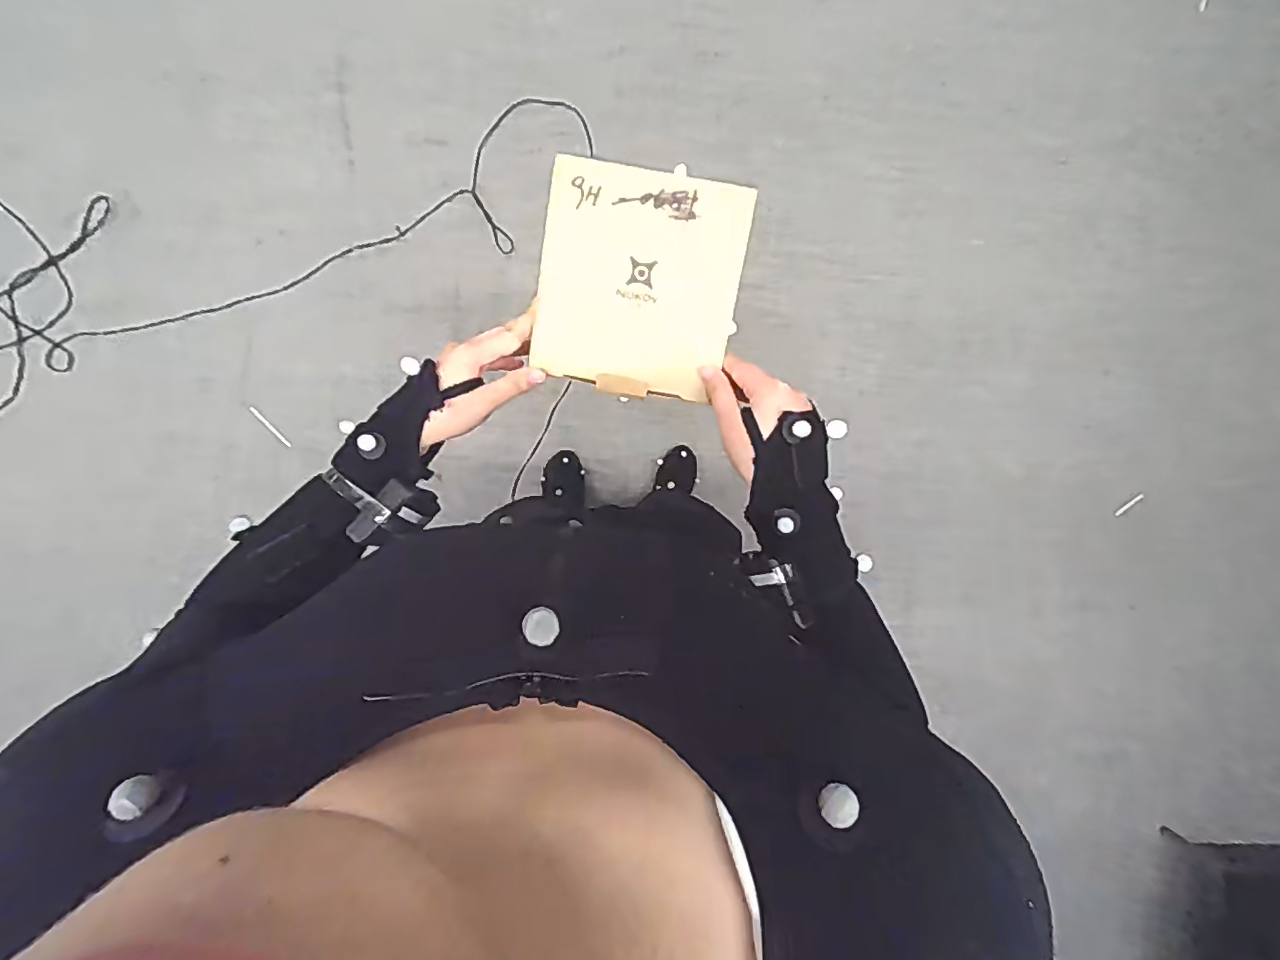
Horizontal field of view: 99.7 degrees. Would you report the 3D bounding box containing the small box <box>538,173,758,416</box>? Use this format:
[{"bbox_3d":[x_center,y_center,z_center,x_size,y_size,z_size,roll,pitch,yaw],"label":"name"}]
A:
[{"bbox_3d":[0.007,-0.172,0.537,0.168,0.176,0.179,10,104,0],"label":"small box"}]
